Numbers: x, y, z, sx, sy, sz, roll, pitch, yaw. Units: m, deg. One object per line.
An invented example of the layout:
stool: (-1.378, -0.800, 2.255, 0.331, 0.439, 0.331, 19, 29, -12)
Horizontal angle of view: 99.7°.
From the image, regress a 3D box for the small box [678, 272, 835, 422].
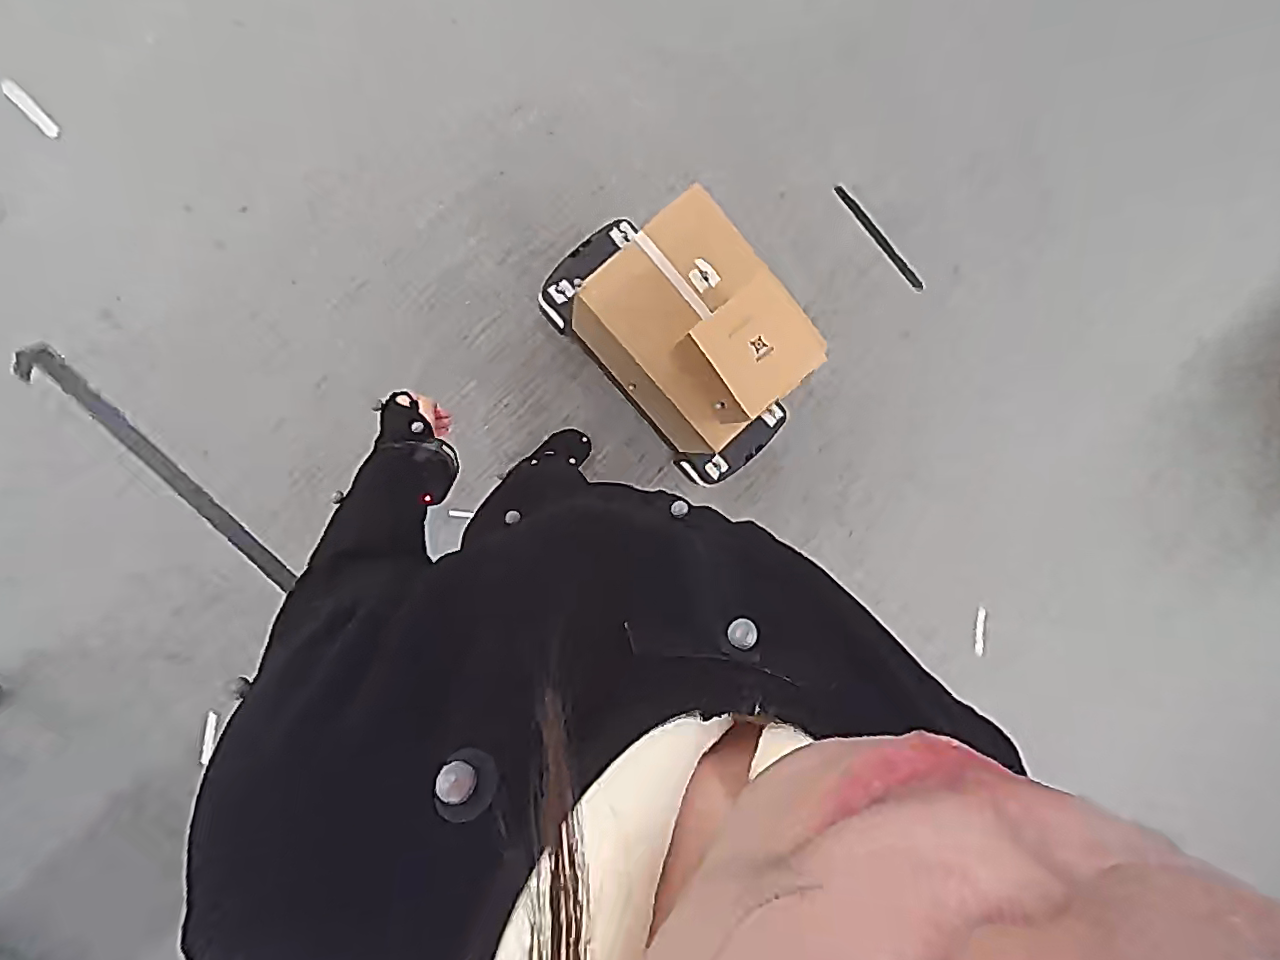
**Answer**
small box: (0.188, -0.215, 0.923, 0.168, 0.176, 0.179, -37, 97, -4)

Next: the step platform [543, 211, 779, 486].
step platform: (0.054, -0.318, 1.388, 0.286, 0.204, 0.684, -37, 97, -5)

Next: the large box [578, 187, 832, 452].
large box: (0.112, -0.304, 1.156, 0.320, 0.320, 0.408, -43, 97, -5)
